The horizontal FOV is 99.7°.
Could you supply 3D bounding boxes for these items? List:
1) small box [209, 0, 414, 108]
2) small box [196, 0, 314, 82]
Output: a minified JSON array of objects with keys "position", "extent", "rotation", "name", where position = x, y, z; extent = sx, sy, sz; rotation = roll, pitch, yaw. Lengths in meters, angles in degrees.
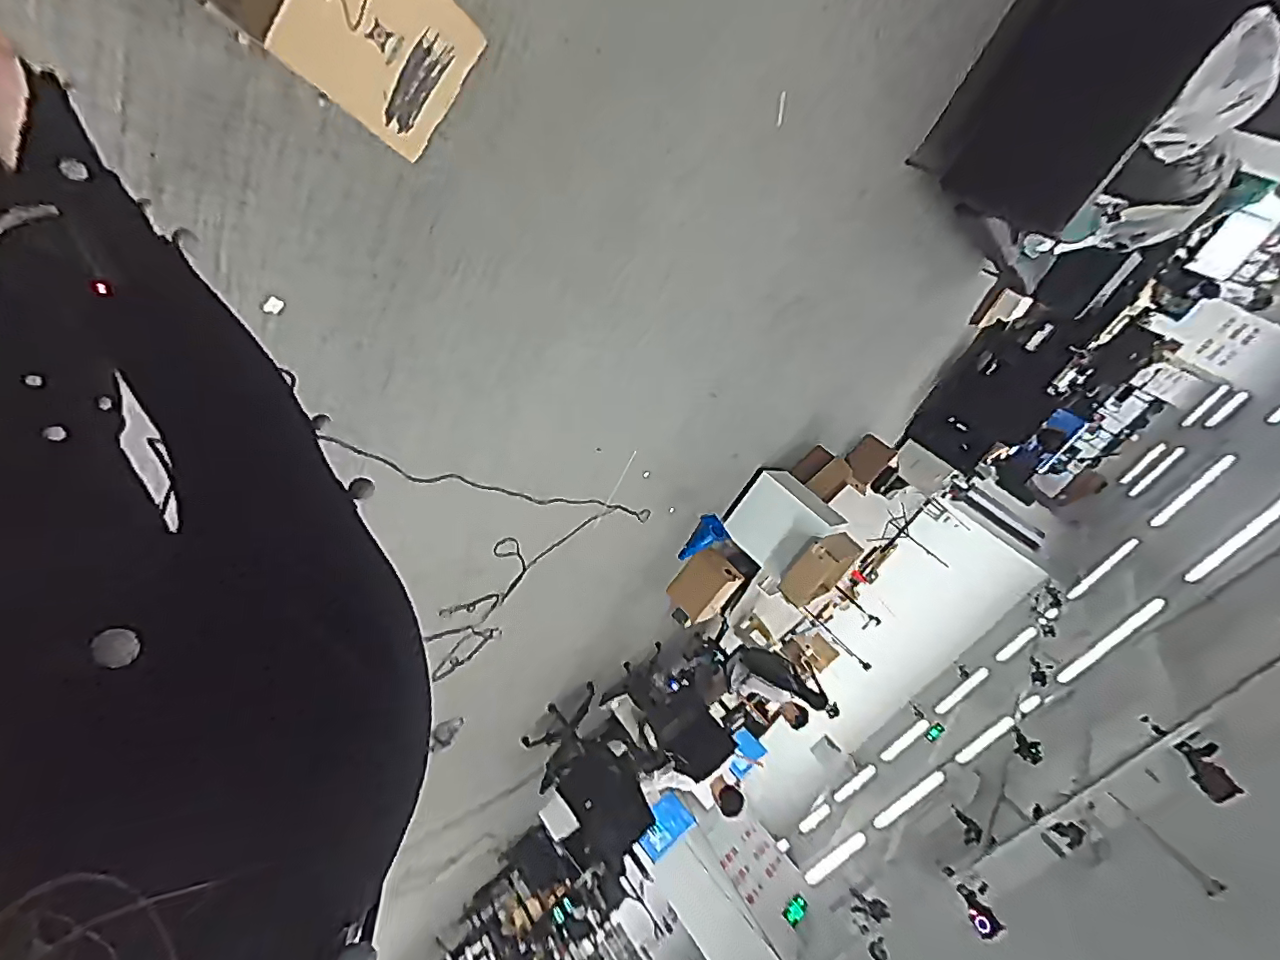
[{"position":[-0.419,-0.620,0.670],"extent":[0.179,0.176,0.168],"rotation":[-53,152,13],"name":"small box"},{"position":[-0.517,-0.712,0.764],"extent":[0.179,0.176,0.168],"rotation":[-55,151,17],"name":"small box"}]
